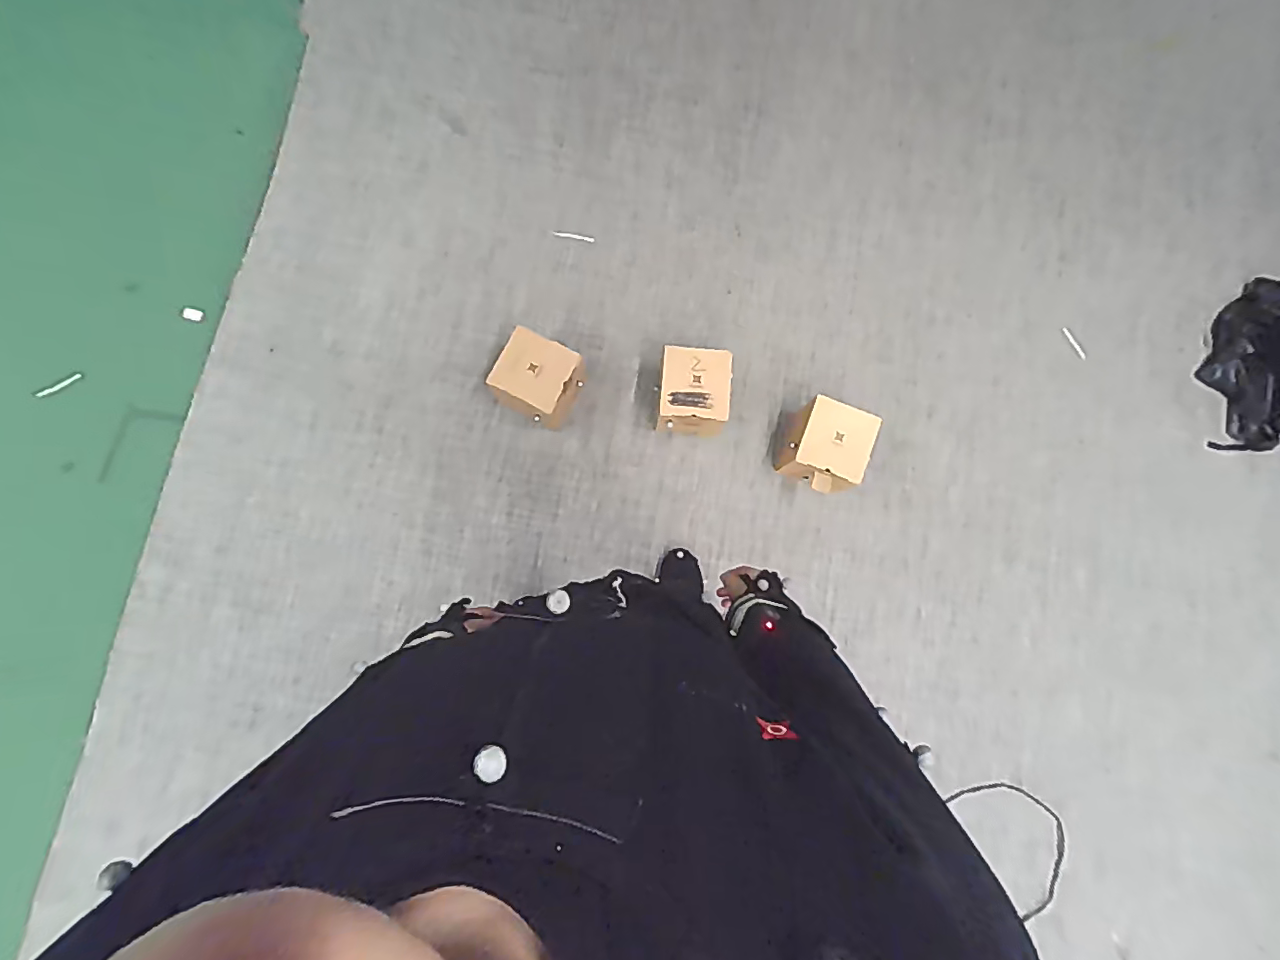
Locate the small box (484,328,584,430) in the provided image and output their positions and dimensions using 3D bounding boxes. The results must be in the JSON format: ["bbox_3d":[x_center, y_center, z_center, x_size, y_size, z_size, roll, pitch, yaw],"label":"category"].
[{"bbox_3d":[-0.252,-0.240,1.340,0.179,0.176,0.168,26,80,3],"label":"small box"}]

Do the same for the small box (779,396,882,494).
[{"bbox_3d":[0.463,-0.080,1.340,0.168,0.176,0.179,21,82,1],"label":"small box"}]
